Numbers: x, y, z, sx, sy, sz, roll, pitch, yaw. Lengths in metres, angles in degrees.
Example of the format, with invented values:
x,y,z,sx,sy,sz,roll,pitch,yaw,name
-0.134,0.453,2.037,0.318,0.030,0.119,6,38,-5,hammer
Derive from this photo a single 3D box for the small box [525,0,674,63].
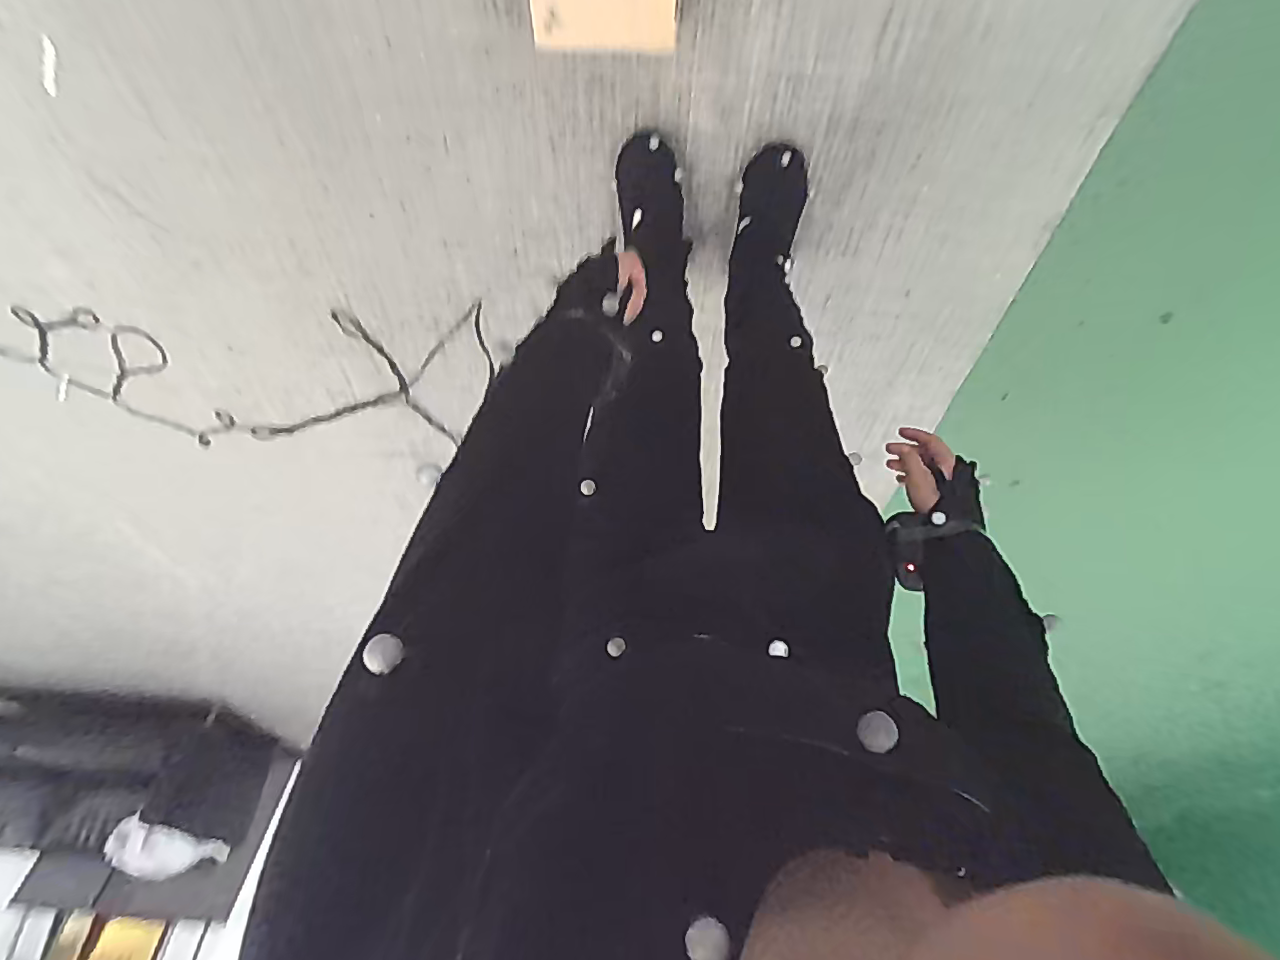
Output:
x,y,z,sx,sy,sz,roll,pitch,yaw,name
-0.045,-0.637,0.663,0.179,0.176,0.168,3,140,2,small box
